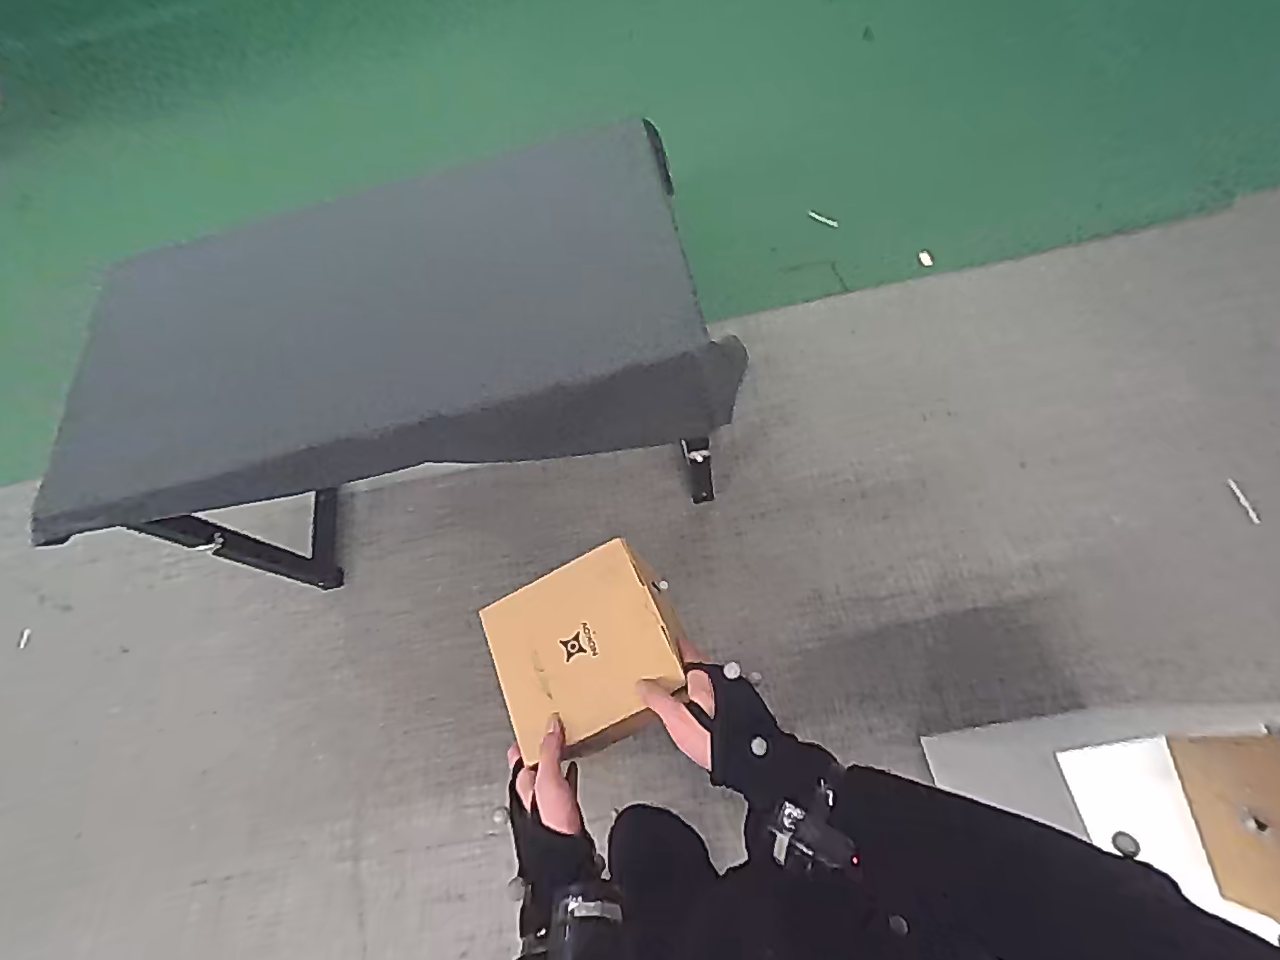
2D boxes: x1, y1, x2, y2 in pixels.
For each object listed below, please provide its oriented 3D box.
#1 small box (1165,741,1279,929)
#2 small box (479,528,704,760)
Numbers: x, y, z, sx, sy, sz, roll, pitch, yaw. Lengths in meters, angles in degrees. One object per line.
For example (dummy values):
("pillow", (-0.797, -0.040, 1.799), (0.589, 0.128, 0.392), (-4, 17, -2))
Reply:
("small box", (0.729, 0.378, 0.570), (0.168, 0.176, 0.179), (-3, 66, 6))
("small box", (-0.041, 0.182, 0.590), (0.179, 0.176, 0.168), (-28, 61, 2))
